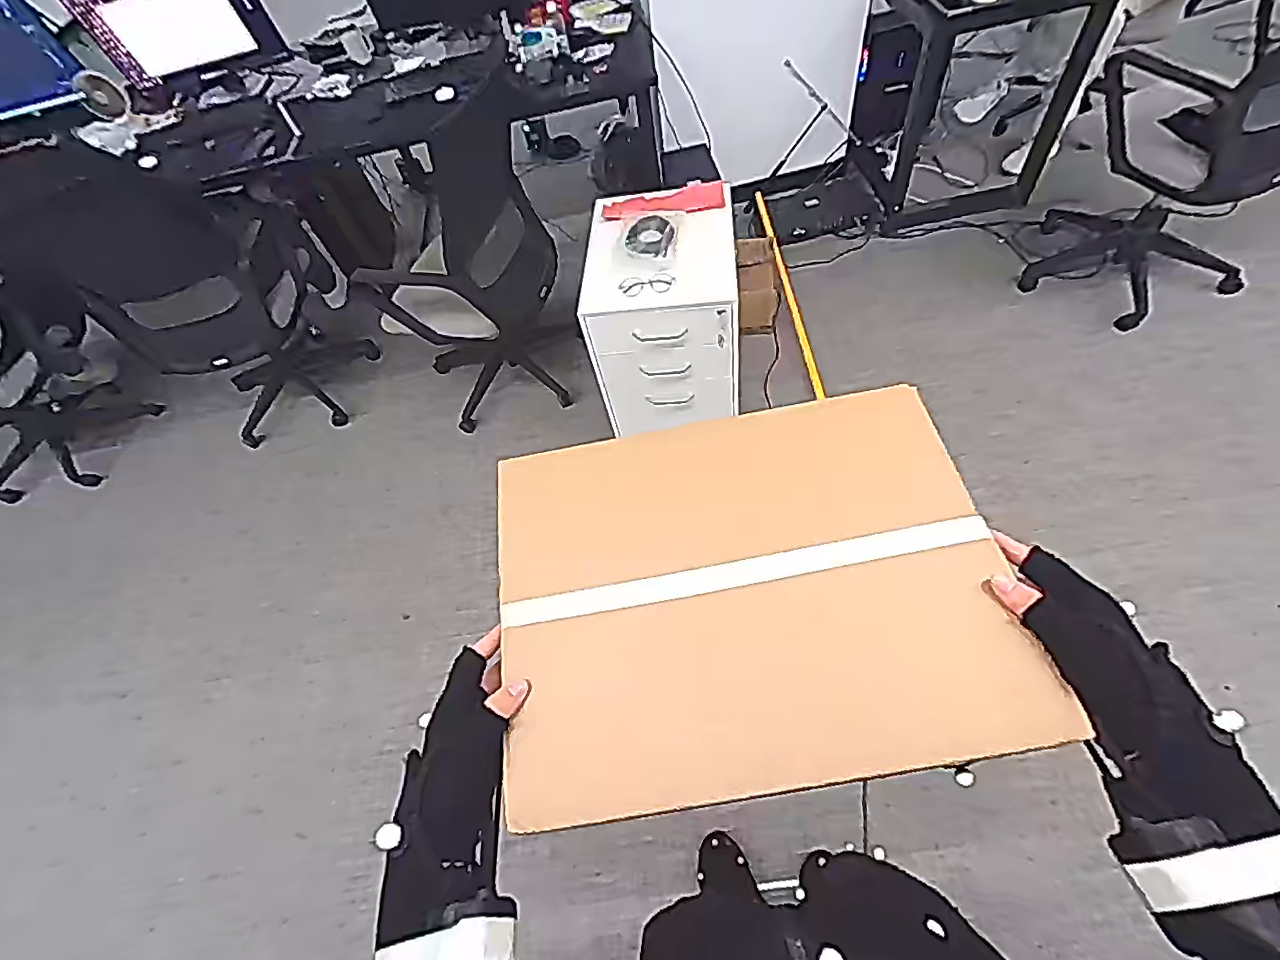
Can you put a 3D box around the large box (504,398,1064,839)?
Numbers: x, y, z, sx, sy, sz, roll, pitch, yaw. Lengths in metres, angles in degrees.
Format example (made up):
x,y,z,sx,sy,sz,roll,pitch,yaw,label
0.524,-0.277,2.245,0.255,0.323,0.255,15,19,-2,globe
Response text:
x,y,z,sx,sy,sz,roll,pitch,yaw,label
0.101,0.158,0.584,0.408,0.320,0.320,-10,59,2,large box
